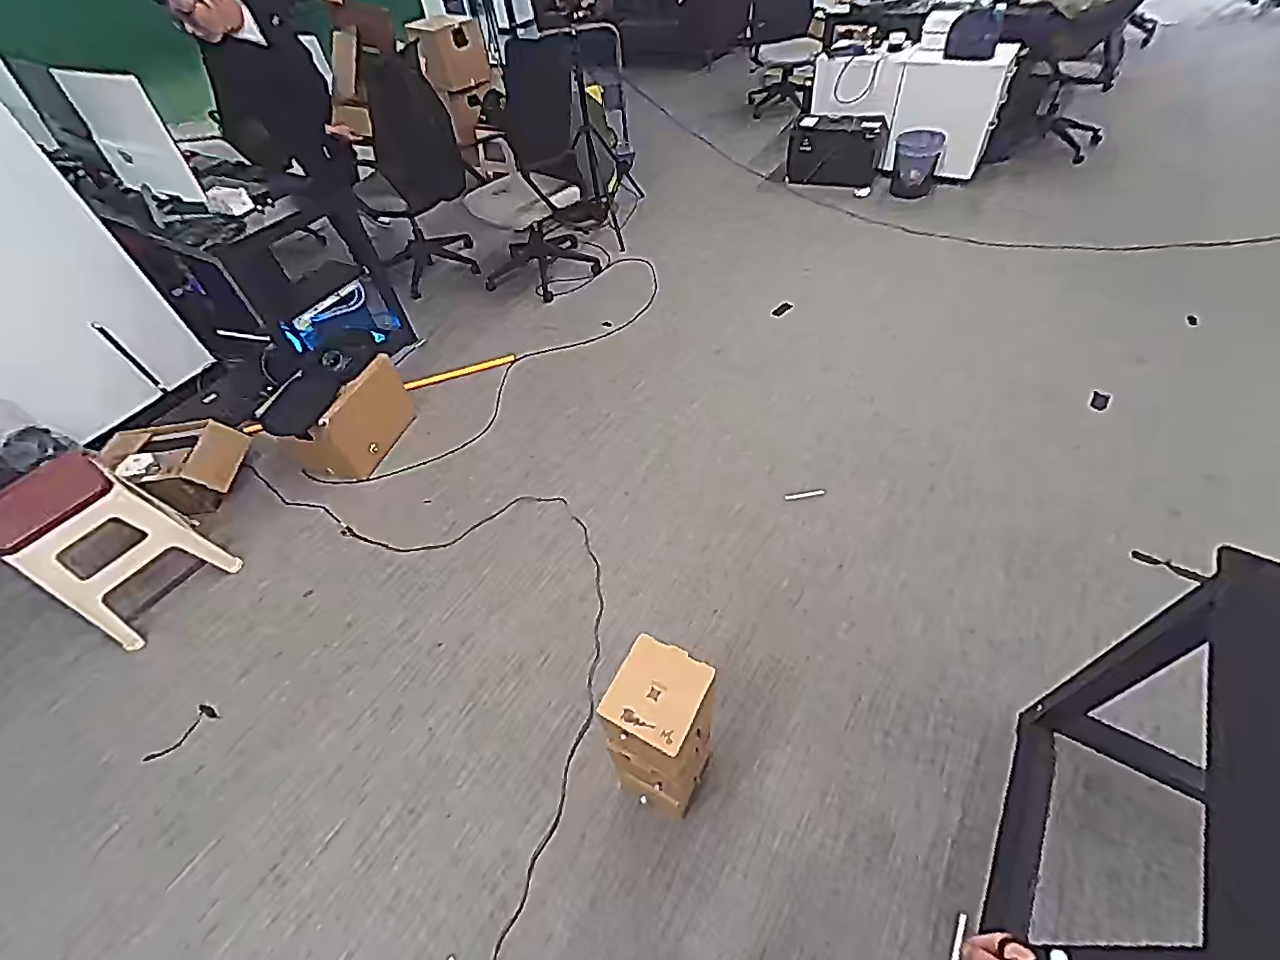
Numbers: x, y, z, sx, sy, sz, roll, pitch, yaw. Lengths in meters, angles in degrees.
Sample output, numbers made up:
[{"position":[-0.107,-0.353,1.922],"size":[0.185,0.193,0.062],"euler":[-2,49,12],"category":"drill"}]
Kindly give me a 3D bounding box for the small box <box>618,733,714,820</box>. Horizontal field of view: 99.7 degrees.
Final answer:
[{"position":[0.066,0.672,1.290],"size":[0.168,0.176,0.179],"euler":[20,55,23],"category":"small box"}]

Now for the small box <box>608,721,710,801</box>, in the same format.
[{"position":[0.052,0.561,1.173],"size":[0.168,0.176,0.179],"euler":[18,52,20],"category":"small box"}]

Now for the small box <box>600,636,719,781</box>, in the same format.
[{"position":[0.043,0.446,1.055],"size":[0.168,0.176,0.179],"euler":[20,54,23],"category":"small box"}]
